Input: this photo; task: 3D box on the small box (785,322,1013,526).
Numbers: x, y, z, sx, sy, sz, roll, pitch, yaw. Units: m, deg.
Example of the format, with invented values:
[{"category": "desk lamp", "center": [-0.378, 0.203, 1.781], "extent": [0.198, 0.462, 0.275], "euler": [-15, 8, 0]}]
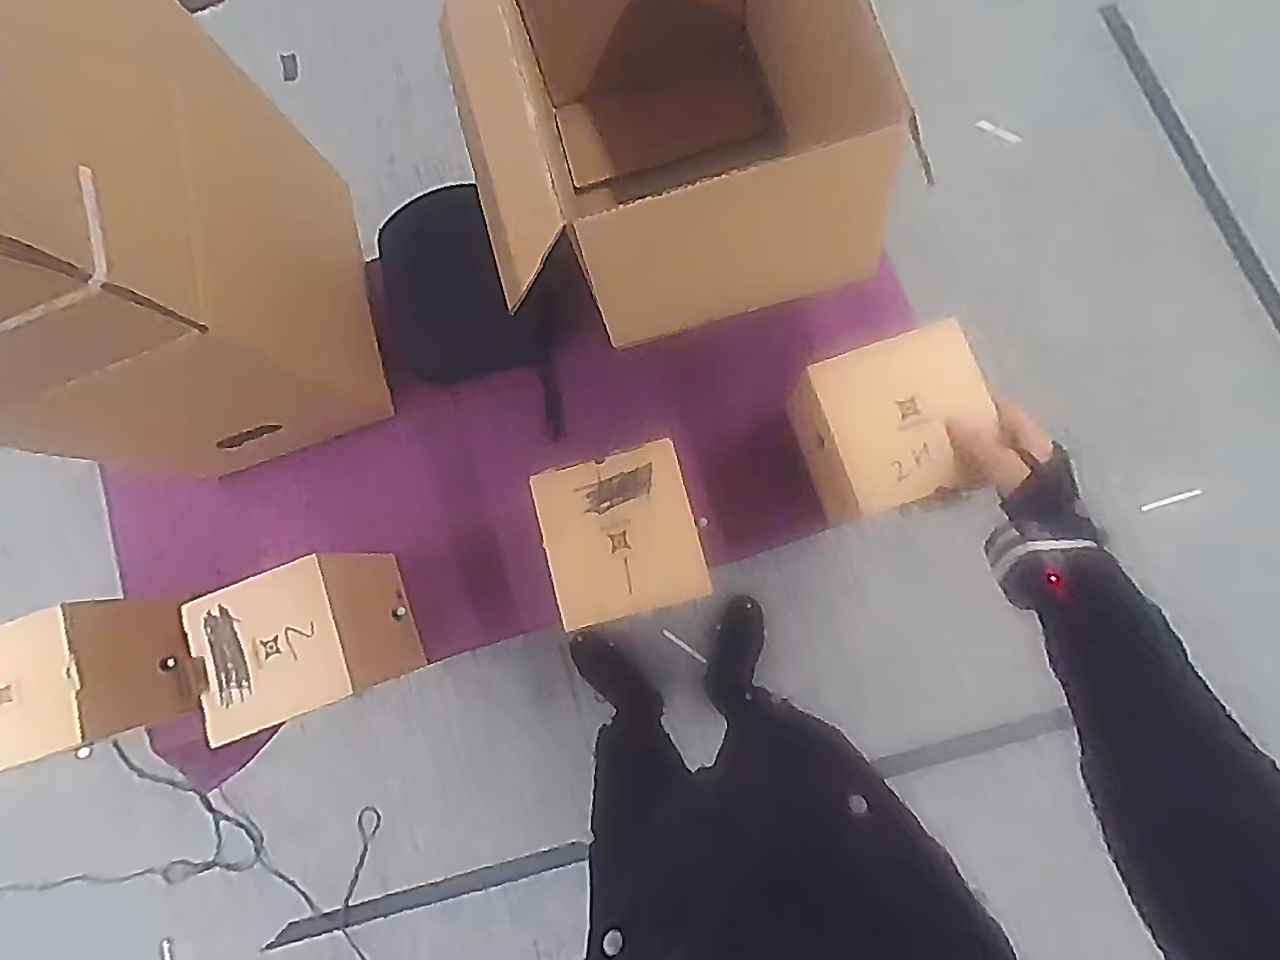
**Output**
[{"category": "small box", "center": [0.285, -0.052, 0.644], "extent": [0.168, 0.176, 0.179], "euler": [-19, 81, 4]}]

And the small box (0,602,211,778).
[{"category": "small box", "center": [-0.722, 0.268, 0.708], "extent": [0.179, 0.176, 0.168], "euler": [-20, 81, 2]}]

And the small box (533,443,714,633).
[{"category": "small box", "center": [-0.013, 0.072, 0.660], "extent": [0.168, 0.176, 0.179], "euler": [-16, 81, 4]}]
